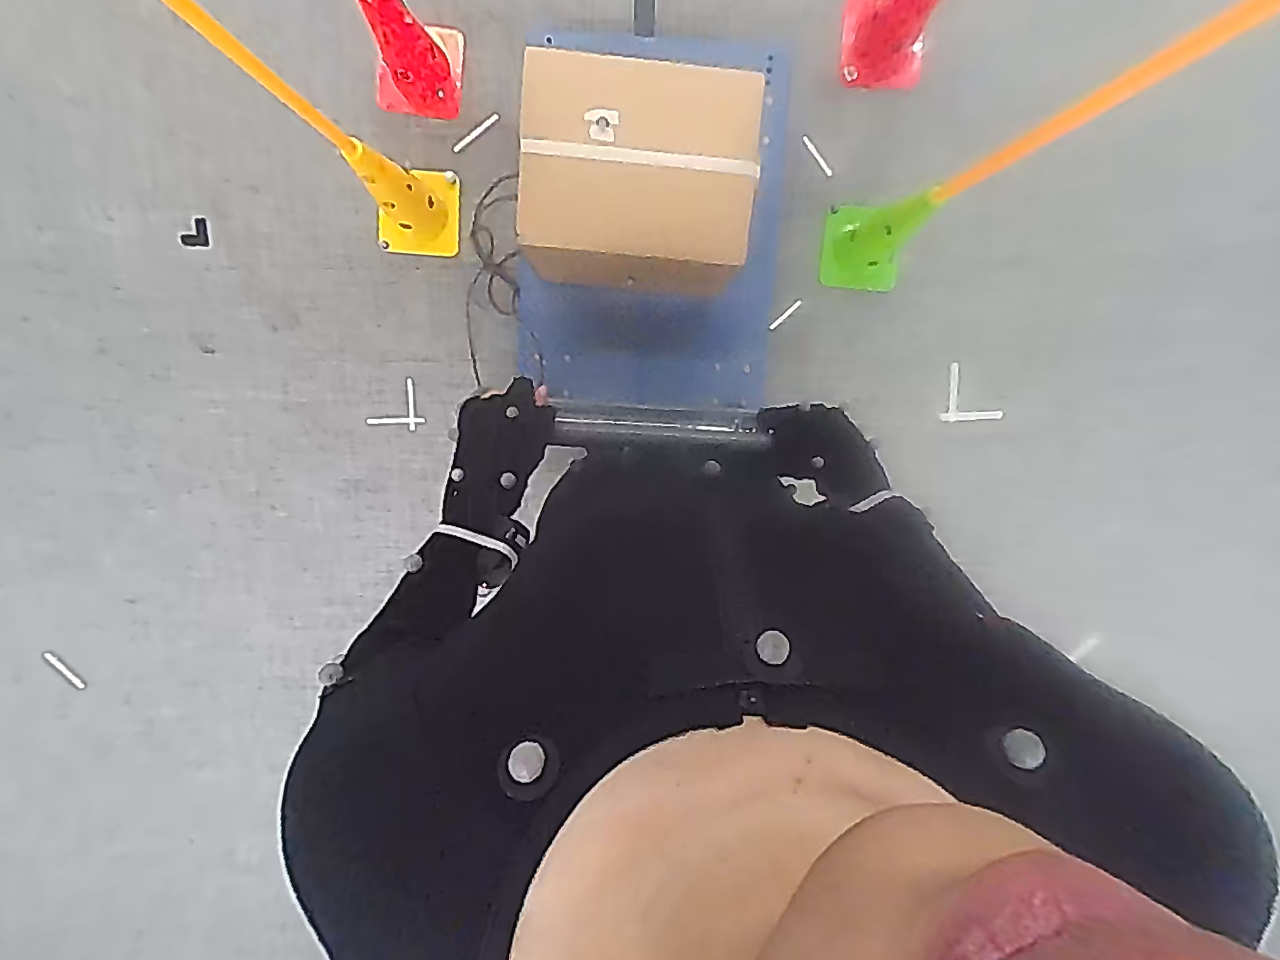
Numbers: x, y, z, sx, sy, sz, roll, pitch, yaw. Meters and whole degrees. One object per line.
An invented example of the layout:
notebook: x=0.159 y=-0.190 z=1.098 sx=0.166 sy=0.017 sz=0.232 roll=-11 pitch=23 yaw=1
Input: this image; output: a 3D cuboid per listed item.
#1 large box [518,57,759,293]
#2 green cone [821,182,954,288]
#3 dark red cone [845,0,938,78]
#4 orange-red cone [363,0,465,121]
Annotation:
large box: x=-0.006 y=-0.567 z=1.075 sx=0.408 sy=0.320 sz=0.320 roll=5 pitch=98 yaw=-1
green cone: x=0.580 y=-0.580 z=1.229 sx=0.202 sy=0.368 sz=0.200 roll=4 pitch=98 yaw=-3
dark red cone: x=0.603 y=-1.058 z=1.143 sx=0.201 sy=0.394 sz=0.202 roll=0 pitch=99 yaw=-3
orange-red cone: x=-0.528 y=-0.975 z=1.153 sx=0.198 sy=0.360 sz=0.199 roll=7 pitch=97 yaw=-3
